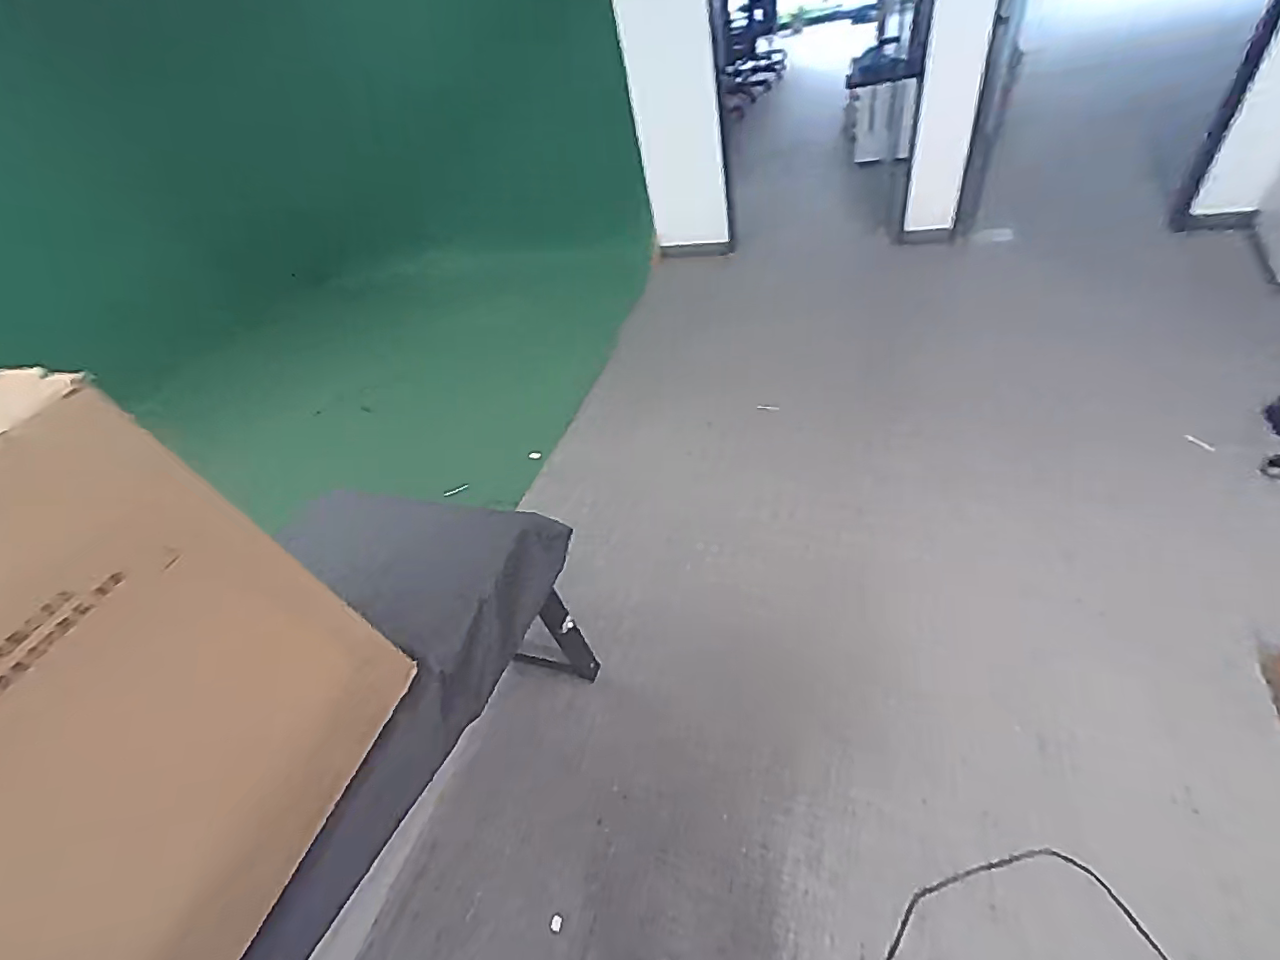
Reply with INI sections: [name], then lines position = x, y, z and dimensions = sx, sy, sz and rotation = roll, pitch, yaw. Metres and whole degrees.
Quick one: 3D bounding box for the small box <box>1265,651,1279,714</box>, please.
[small box]
position = 1.553, 0.466, 1.191
dimensions = 0.179, 0.176, 0.168
rotation = 6, 49, 20
